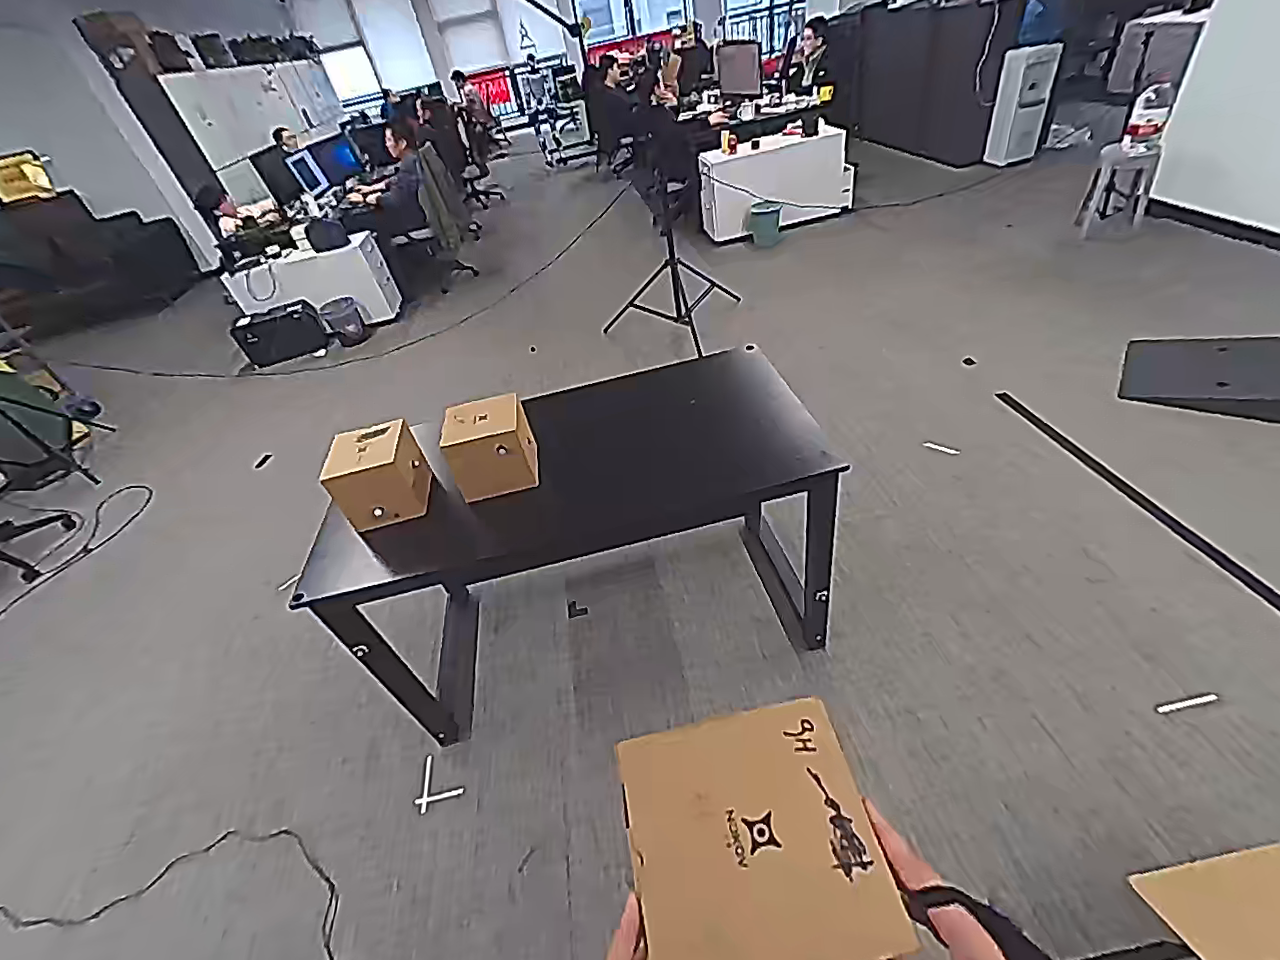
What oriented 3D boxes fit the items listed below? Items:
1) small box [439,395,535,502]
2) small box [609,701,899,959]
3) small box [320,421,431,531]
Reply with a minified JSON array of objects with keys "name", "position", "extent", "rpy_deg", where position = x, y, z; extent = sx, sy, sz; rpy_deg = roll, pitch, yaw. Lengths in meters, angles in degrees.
[{"name":"small box","position":[-0.352,-0.073,1.283],"extent":[0.179,0.176,0.168],"rpy_deg":[-14,40,-2]},{"name":"small box","position":[0.082,0.313,0.457],"extent":[0.179,0.176,0.168],"rpy_deg":[-12,49,-2]},{"name":"small box","position":[-0.611,-0.008,1.277],"extent":[0.168,0.176,0.179],"rpy_deg":[-15,41,-3]}]
